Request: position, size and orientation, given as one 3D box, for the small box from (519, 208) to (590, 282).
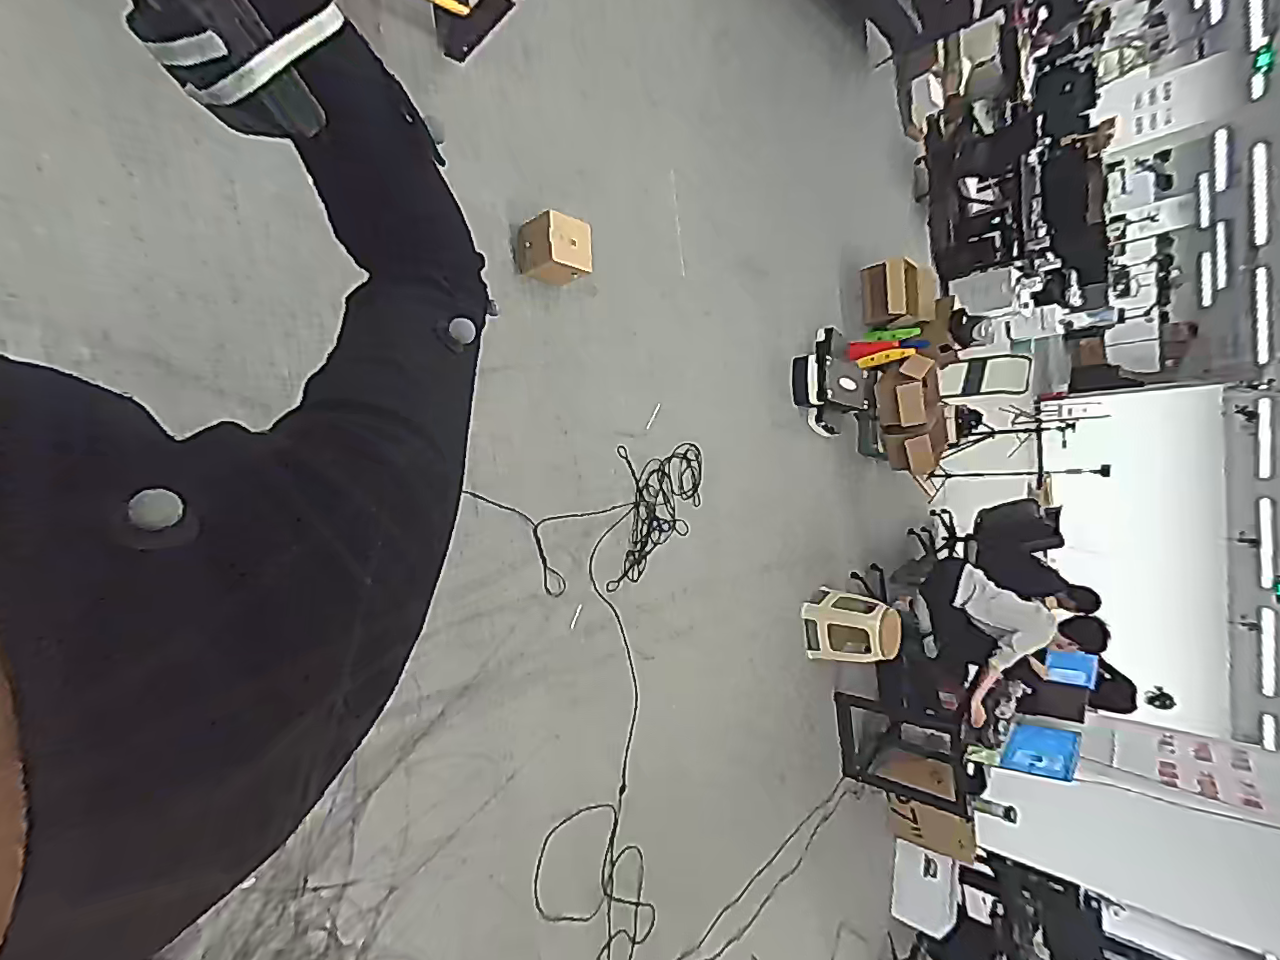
[{"bbox_3d":[-0.290,-0.785,1.833,0.179,0.176,0.168,-3,91,-47],"label":"small box"}]
